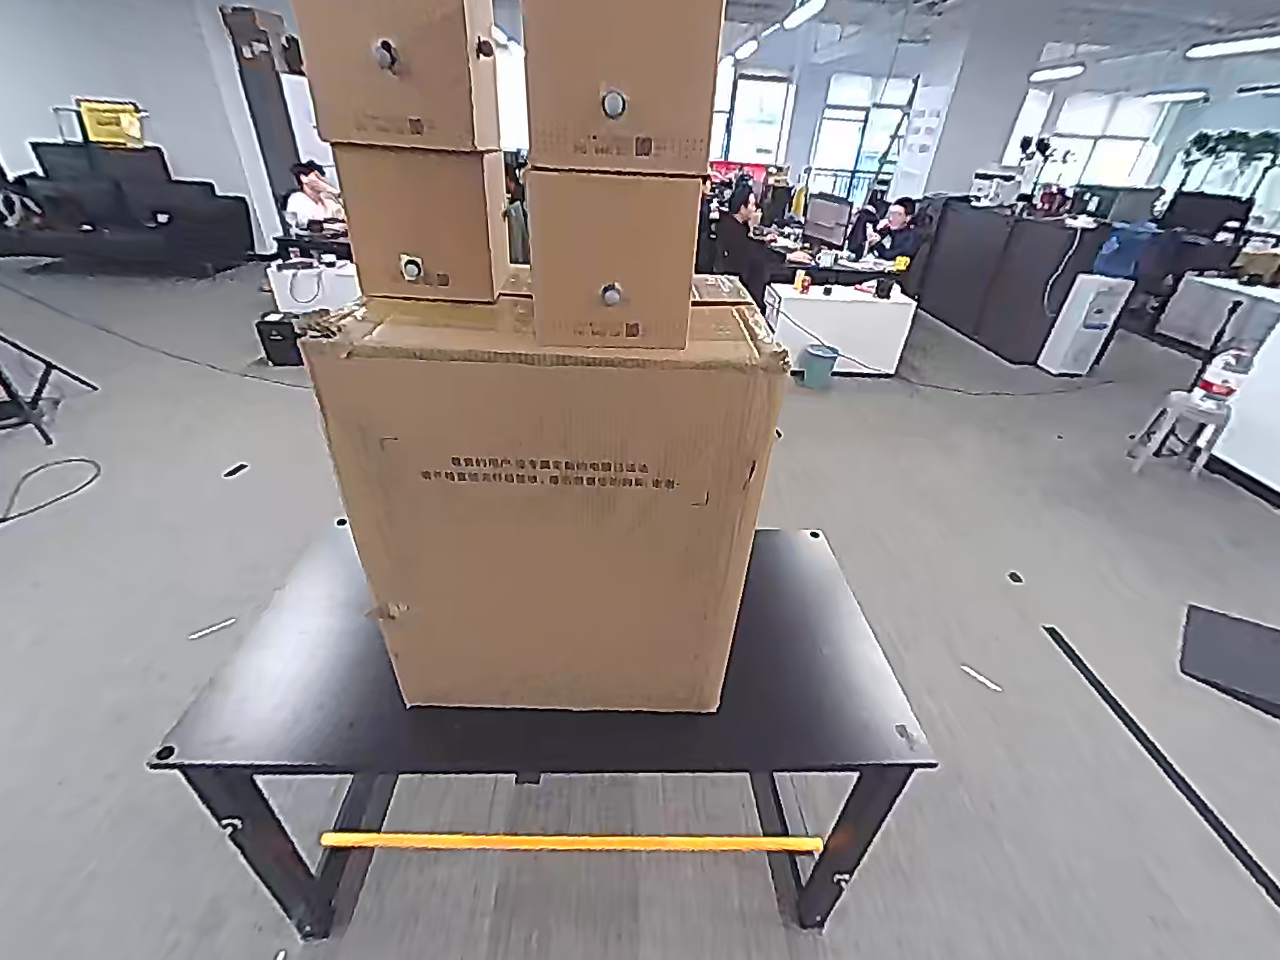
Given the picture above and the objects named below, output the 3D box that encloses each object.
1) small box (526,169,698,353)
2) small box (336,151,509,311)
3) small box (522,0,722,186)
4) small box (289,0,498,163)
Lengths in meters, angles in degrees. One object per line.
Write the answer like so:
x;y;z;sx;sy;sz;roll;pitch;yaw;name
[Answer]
-0.033;-0.256;0.618;0.168;0.176;0.179;0;33;-3;small box
-0.268;-0.333;0.716;0.168;0.176;0.179;-1;33;-6;small box
-0.021;-0.391;0.525;0.168;0.176;0.179;0;33;-3;small box
-0.261;-0.464;0.616;0.168;0.176;0.179;0;33;-5;small box
